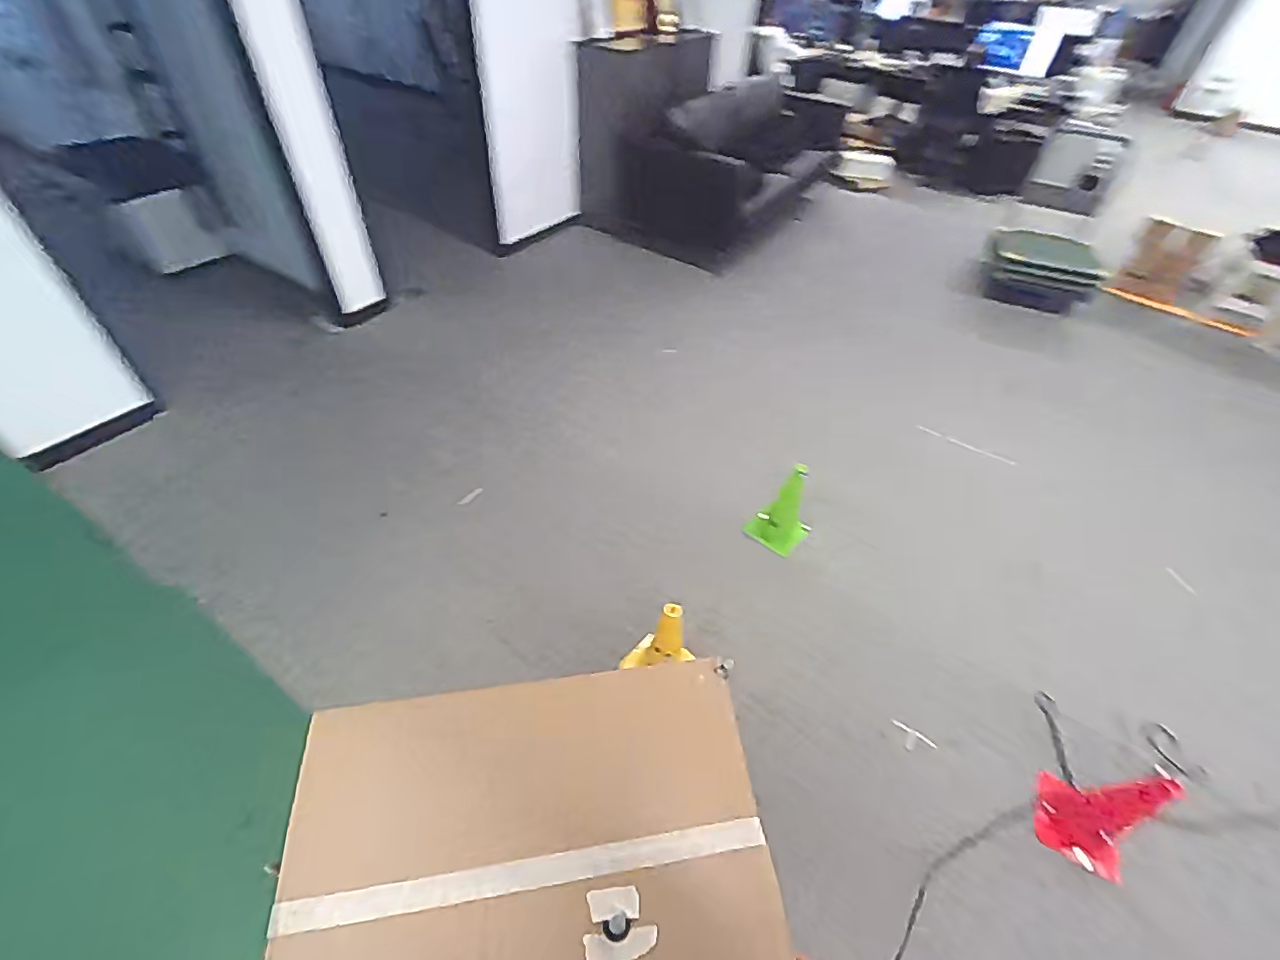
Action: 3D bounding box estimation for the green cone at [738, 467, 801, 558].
[{"bbox_3d":[0.526,0.084,2.029,0.200,0.368,0.202,32,53,25],"label":"green cone"}]

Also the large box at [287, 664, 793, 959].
[{"bbox_3d":[-0.093,0.425,0.582,0.408,0.320,0.320,-4,55,-7],"label":"large box"}]
